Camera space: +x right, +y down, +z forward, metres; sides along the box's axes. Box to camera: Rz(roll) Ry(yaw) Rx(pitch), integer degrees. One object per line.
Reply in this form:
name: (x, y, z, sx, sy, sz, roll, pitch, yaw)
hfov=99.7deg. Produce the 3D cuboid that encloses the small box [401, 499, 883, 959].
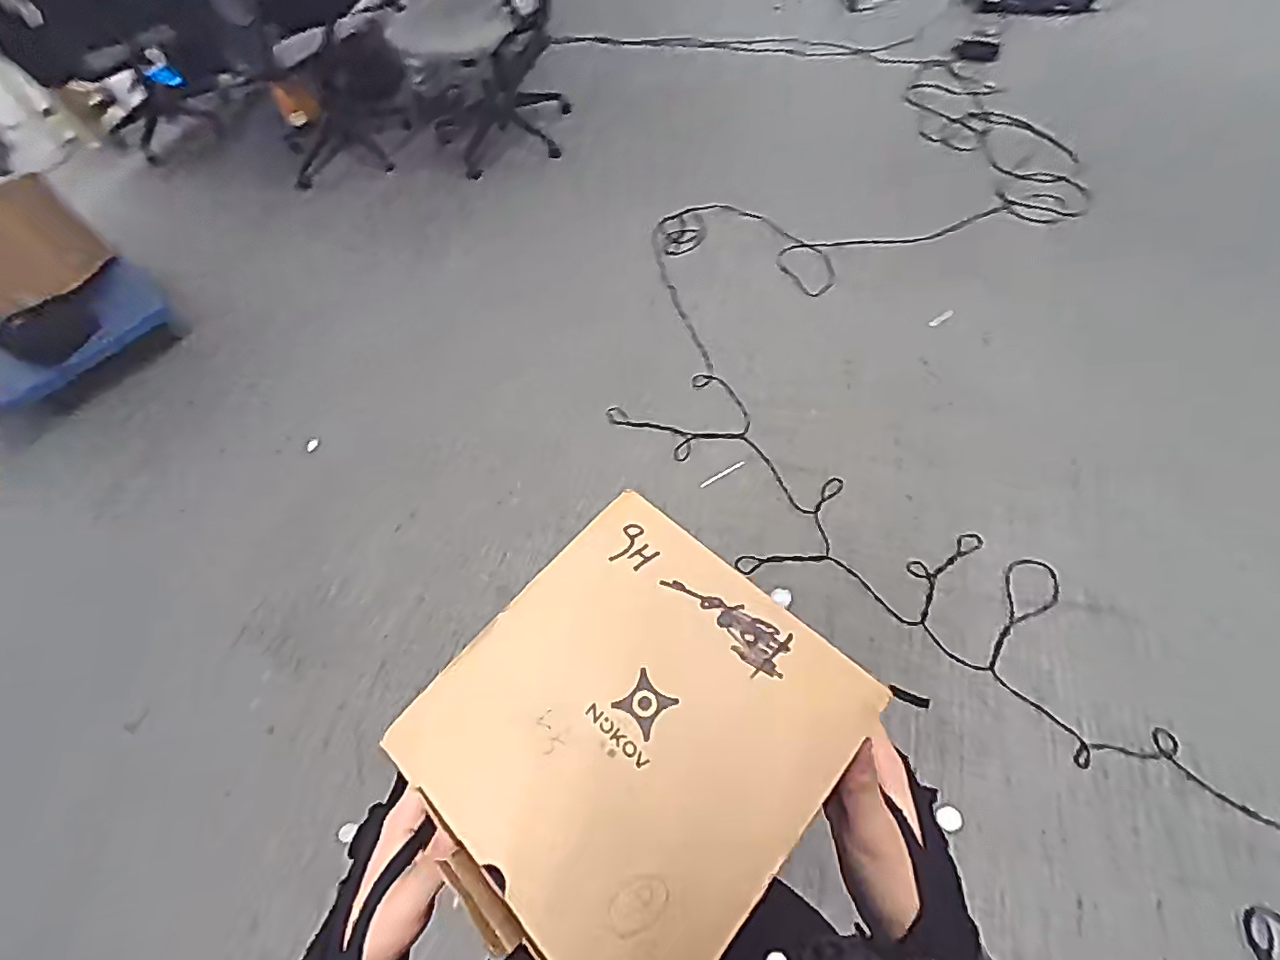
small box: (0.006, 0.151, 0.325, 0.168, 0.176, 0.179, 38, 73, 22)
